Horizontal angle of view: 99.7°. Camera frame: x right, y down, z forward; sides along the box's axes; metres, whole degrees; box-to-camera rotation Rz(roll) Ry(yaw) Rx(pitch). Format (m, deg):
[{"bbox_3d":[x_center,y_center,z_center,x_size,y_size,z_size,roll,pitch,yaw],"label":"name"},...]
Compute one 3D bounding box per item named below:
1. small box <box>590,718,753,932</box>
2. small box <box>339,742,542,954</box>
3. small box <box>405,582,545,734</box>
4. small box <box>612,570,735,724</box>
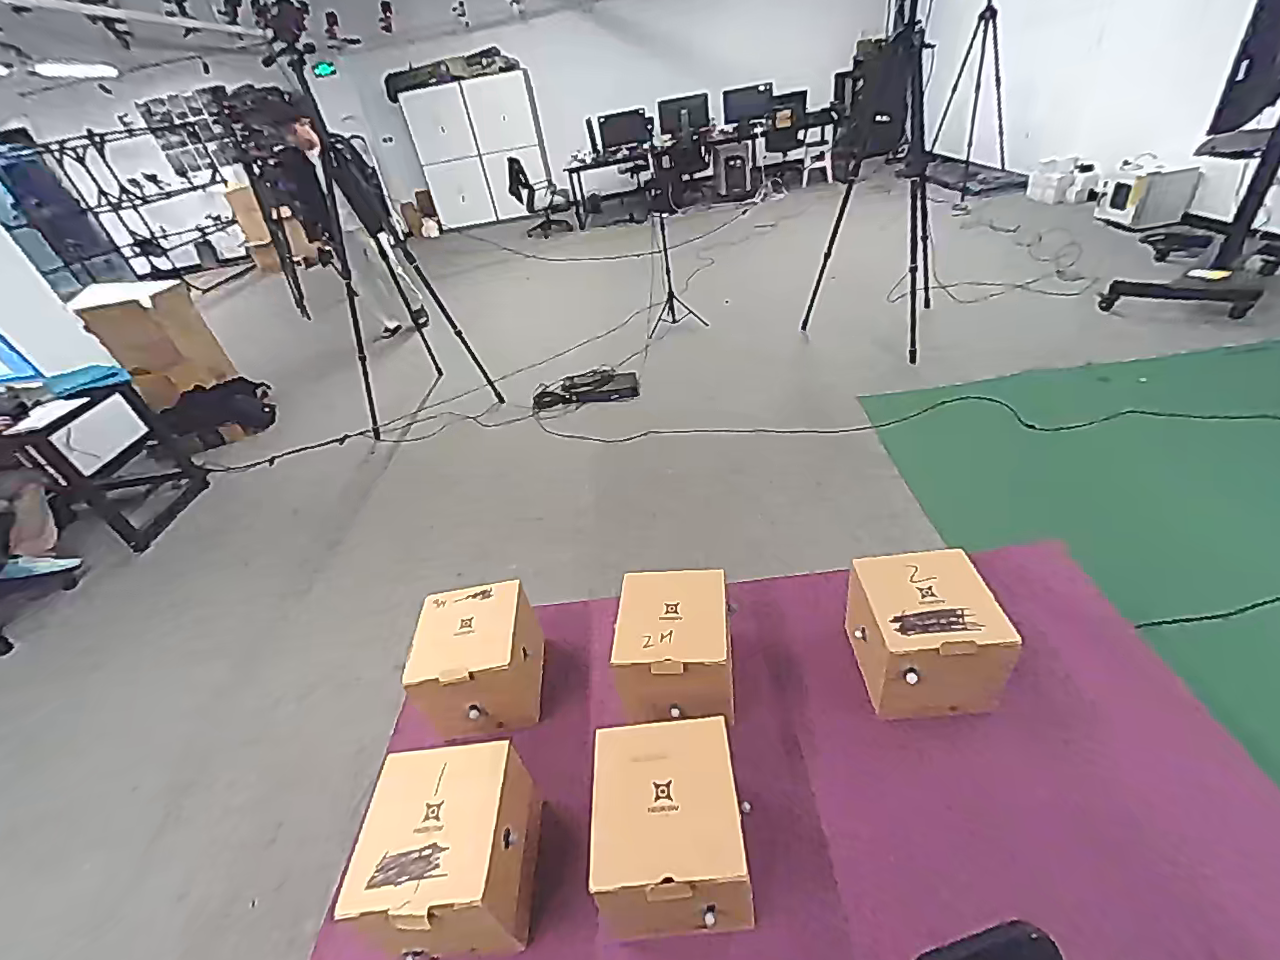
[{"bbox_3d":[0.041,0.423,0.660,0.168,0.176,0.179,-8,35,5],"label":"small box"},{"bbox_3d":[-0.229,0.464,0.680,0.168,0.176,0.179,-8,35,4],"label":"small box"},{"bbox_3d":[-0.261,0.302,0.905,0.168,0.176,0.179,-10,37,1],"label":"small box"},{"bbox_3d":[0.061,0.265,0.862,0.168,0.176,0.179,-4,37,11],"label":"small box"}]
